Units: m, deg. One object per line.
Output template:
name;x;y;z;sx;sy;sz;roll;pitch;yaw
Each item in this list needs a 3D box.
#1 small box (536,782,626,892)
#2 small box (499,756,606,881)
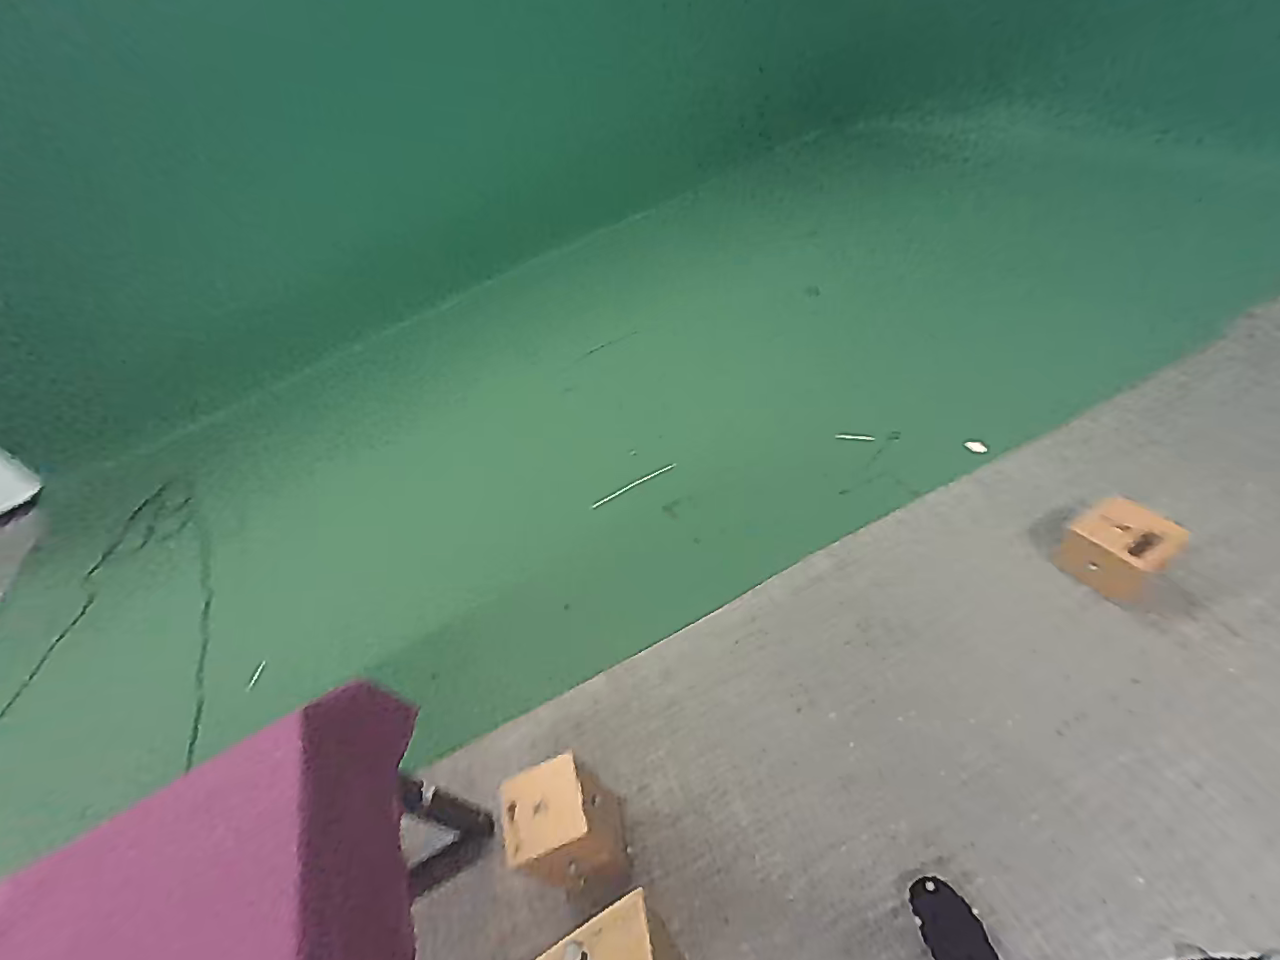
small box;-0.143;0.853;1.290;0.179;0.176;0.168;-22;44;2
small box;-0.185;0.739;1.178;0.179;0.176;0.168;-24;44;-2
